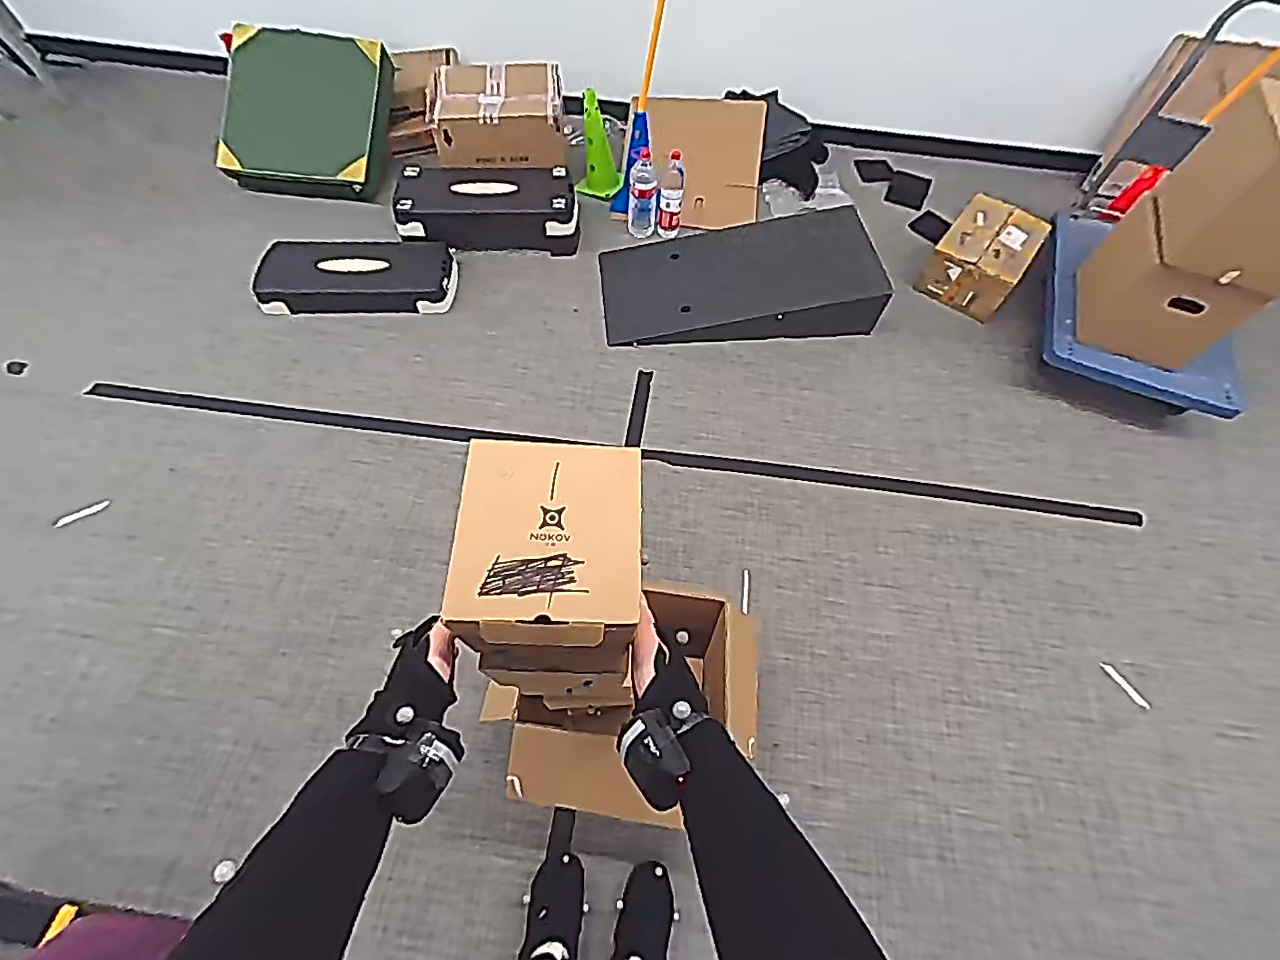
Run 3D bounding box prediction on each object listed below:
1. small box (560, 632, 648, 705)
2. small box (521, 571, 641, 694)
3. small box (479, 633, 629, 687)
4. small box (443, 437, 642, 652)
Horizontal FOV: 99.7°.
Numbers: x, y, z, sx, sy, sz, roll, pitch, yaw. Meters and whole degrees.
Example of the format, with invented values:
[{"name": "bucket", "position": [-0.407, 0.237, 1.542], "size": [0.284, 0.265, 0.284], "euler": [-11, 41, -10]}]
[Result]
[{"name": "small box", "position": [-0.090, 0.369, 1.146], "size": [0.179, 0.176, 0.168], "euler": [-9, 65, -11]}, {"name": "small box", "position": [-0.093, 0.239, 0.843], "size": [0.179, 0.176, 0.168], "euler": [3, 64, -4]}, {"name": "small box", "position": [-0.097, 0.165, 0.696], "size": [0.168, 0.176, 0.179], "euler": [4, 63, -4]}, {"name": "small box", "position": [-0.088, 0.076, 0.558], "size": [0.168, 0.176, 0.179], "euler": [4, 63, -5]}]
